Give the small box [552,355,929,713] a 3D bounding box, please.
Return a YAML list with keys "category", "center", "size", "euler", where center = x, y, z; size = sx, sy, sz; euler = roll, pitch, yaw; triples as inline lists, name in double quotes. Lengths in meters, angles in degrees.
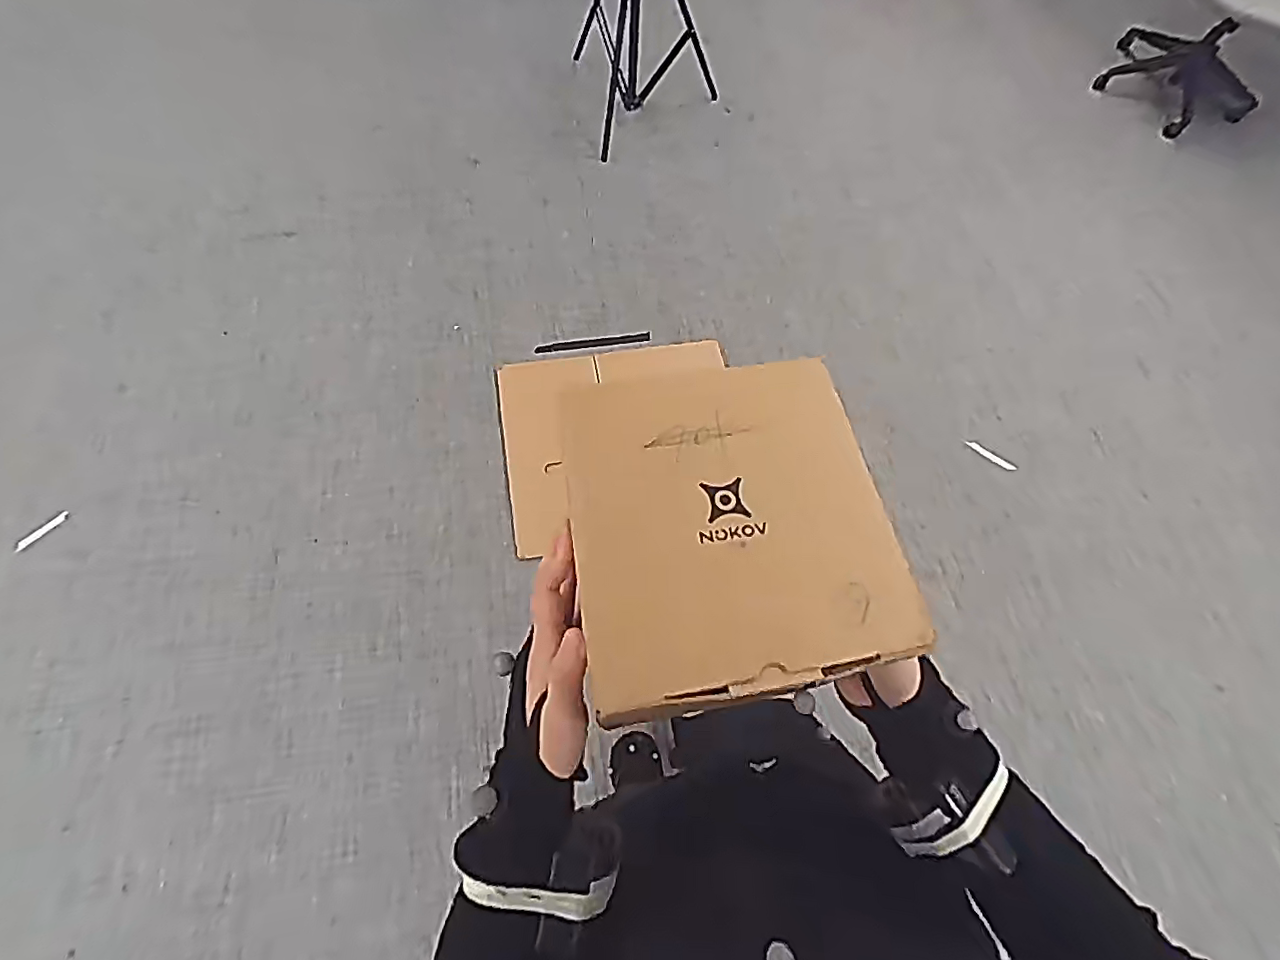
- category: "small box"
  center: [0.040, 0.047, 0.354]
  size: [0.168, 0.176, 0.179]
  euler: [-8, 64, -8]
